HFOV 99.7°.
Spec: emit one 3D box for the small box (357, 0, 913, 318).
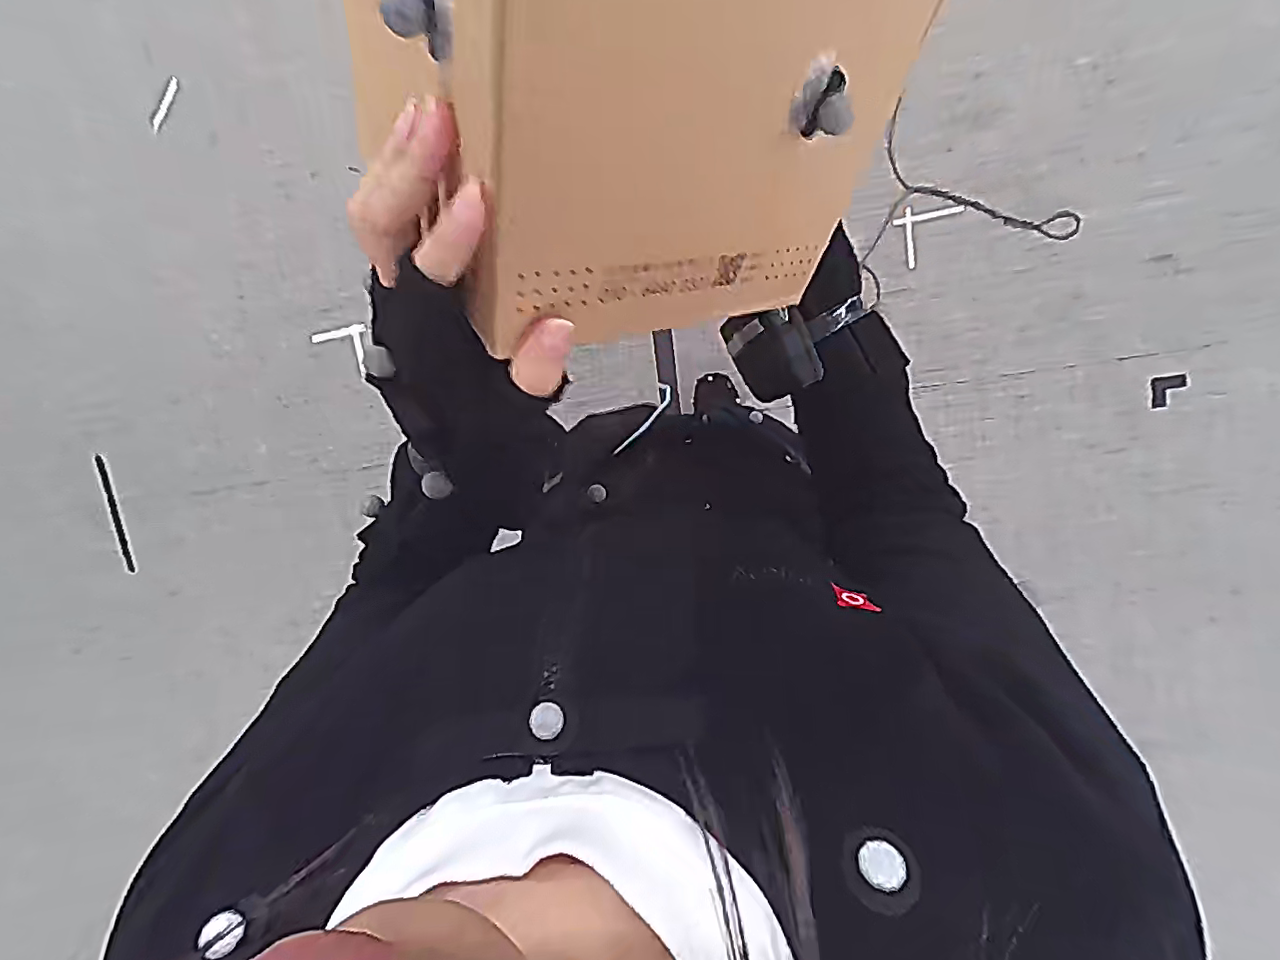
[{"bbox_3d":[-0.012,-0.182,0.223,0.179,0.168,0.176,56,147,29],"label":"small box"}]
